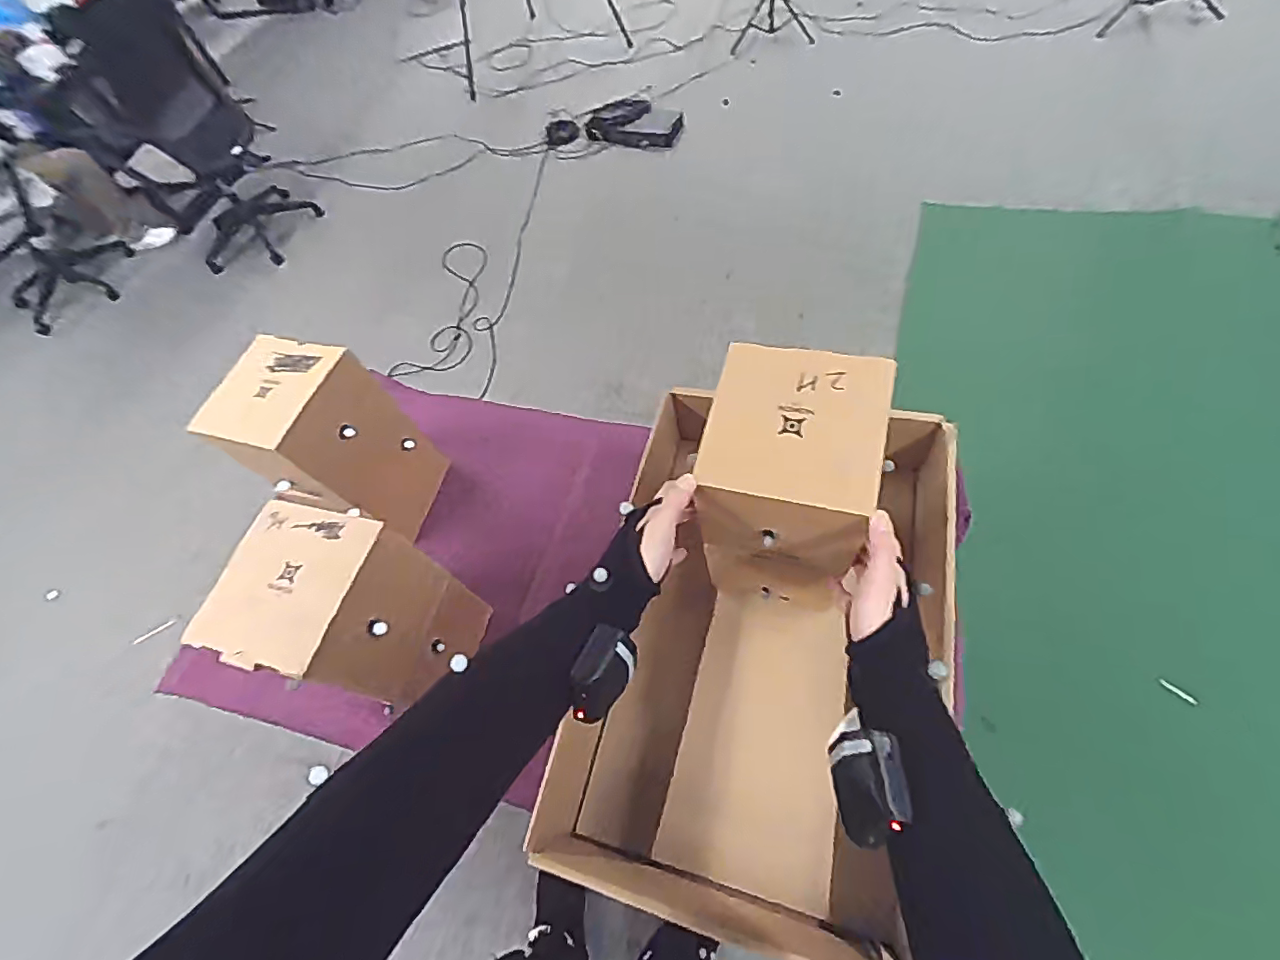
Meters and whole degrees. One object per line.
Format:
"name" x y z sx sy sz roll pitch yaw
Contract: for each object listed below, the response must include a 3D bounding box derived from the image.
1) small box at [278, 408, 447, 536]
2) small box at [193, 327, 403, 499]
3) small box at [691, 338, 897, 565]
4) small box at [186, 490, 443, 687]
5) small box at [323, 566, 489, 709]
"small box" -0.473 -0.017 0.954 0.168 0.176 0.179 9 62 15
"small box" -0.491 -0.098 0.812 0.168 0.176 0.179 12 65 17
"small box" 0.165 -0.024 0.589 0.168 0.176 0.179 12 66 17
"small box" -0.372 0.138 0.658 0.168 0.176 0.179 10 63 14
"small box" -0.348 0.221 0.798 0.168 0.176 0.179 11 62 15
